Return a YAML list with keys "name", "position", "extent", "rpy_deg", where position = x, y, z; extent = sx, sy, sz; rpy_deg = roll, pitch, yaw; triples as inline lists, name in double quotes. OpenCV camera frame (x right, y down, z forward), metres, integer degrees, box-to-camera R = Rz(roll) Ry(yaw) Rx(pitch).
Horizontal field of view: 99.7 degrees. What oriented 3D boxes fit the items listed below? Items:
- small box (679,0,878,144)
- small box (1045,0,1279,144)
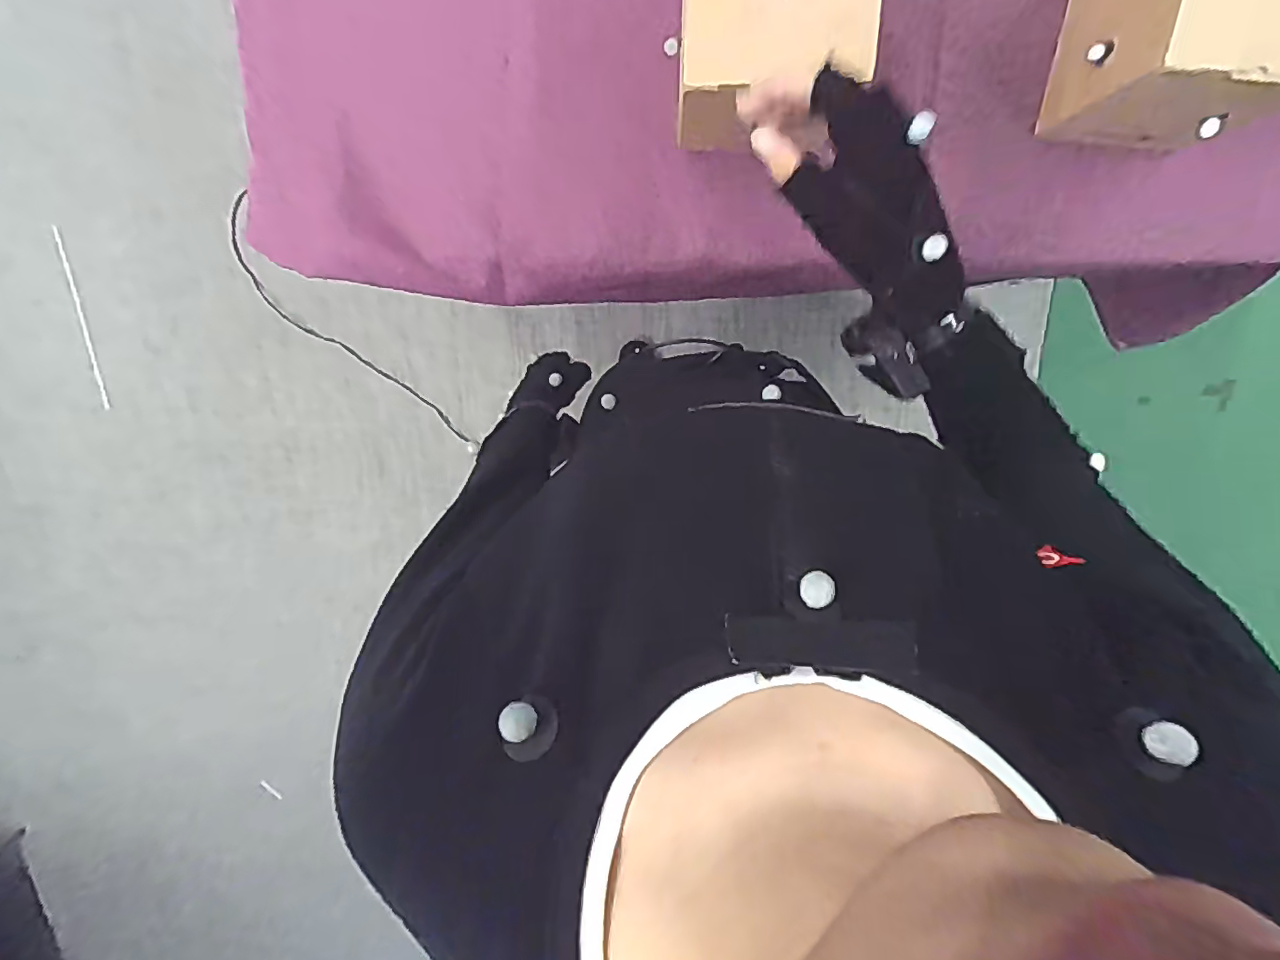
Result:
- name: "small box"
  position: [0.124, -0.447, 0.526]
  extent: [0.168, 0.176, 0.179]
  rpy_deg: [1, 105, 3]
- name: "small box"
  position: [0.529, -0.440, 0.505]
  extent: [0.168, 0.176, 0.179]
  rpy_deg: [7, 105, 1]
